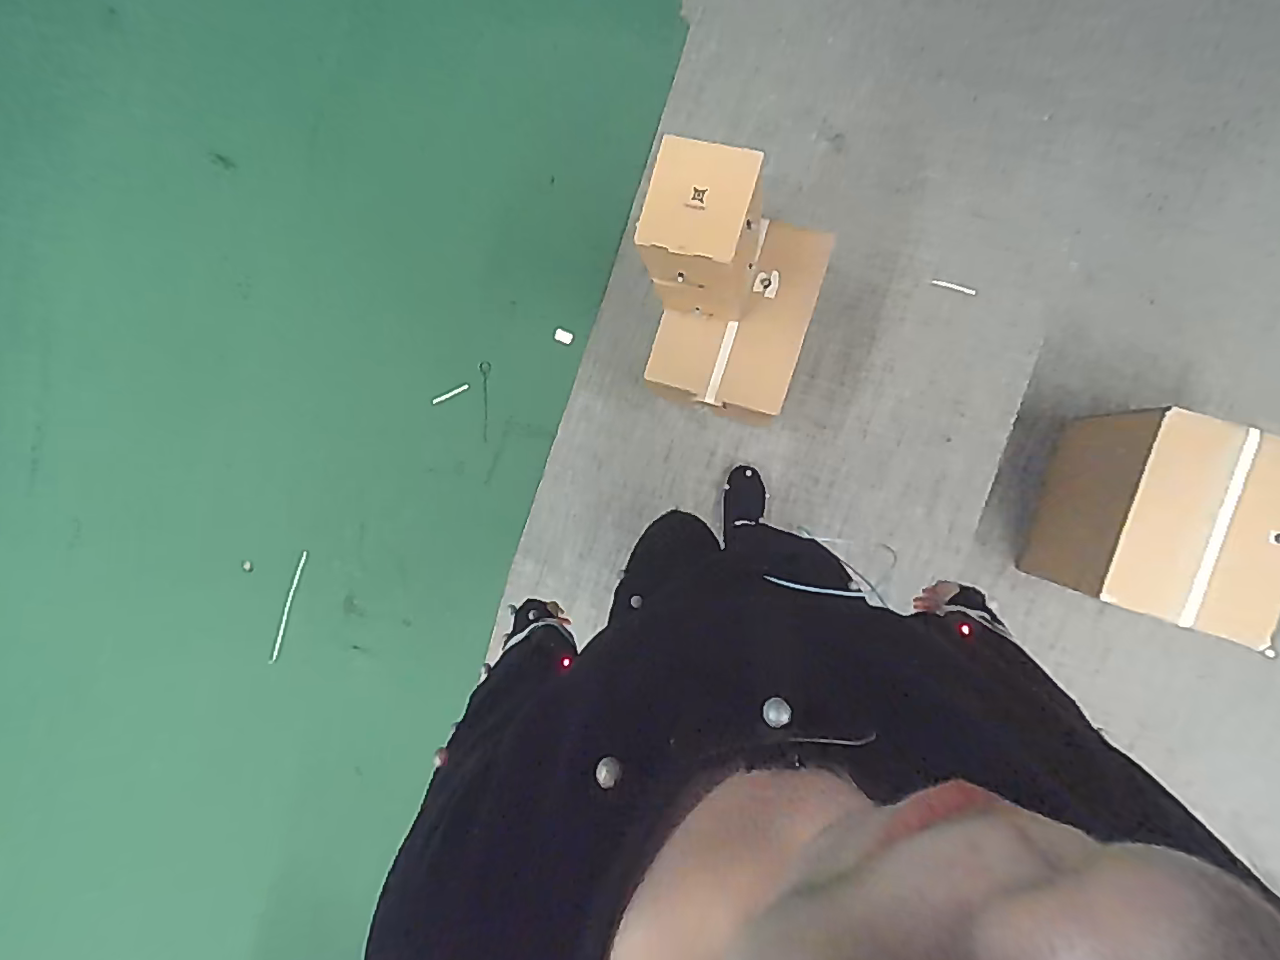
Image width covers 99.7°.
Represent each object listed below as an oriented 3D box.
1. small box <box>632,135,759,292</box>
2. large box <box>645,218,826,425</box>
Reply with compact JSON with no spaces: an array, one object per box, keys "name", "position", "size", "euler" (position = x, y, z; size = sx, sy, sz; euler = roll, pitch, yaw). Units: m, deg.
[{"name":"small box","position":[0.101,-0.453,0.941],"size":[0.168,0.176,0.179],"euler":[16,94,11]},{"name":"large box","position":[0.229,-0.377,1.334],"size":[0.320,0.320,0.408],"euler":[17,92,8]}]
